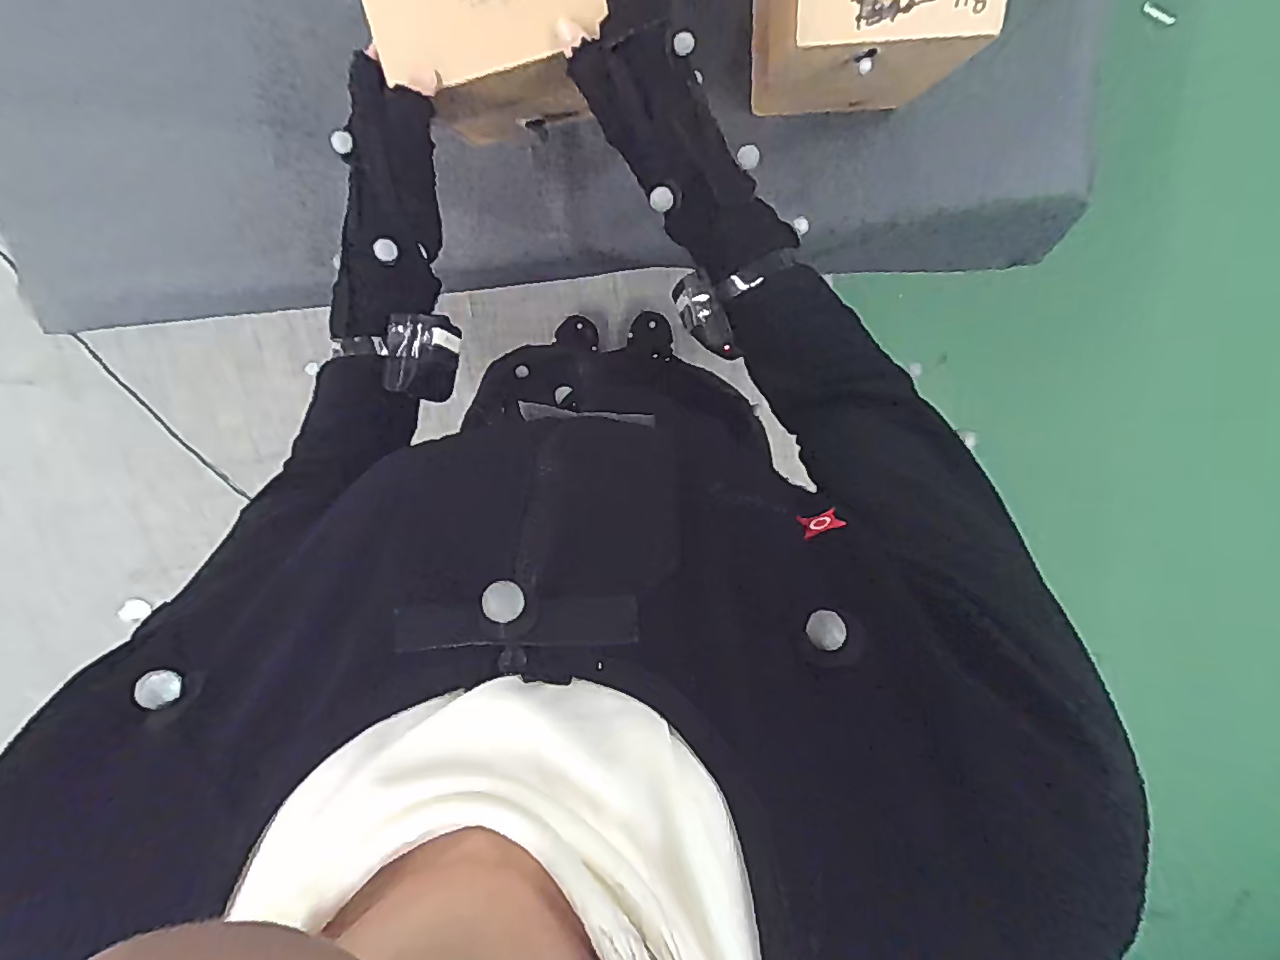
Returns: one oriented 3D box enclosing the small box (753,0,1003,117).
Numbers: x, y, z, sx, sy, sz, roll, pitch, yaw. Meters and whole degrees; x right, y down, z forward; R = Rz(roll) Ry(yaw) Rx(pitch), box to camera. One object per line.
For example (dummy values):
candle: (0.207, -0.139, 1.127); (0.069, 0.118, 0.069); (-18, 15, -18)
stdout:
small box: (0.198, -0.455, 0.481); (0.168, 0.176, 0.179); (-3, 107, 1)

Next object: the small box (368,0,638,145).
small box: (-0.103, -0.392, 0.421); (0.168, 0.176, 0.179); (-9, 111, 10)
